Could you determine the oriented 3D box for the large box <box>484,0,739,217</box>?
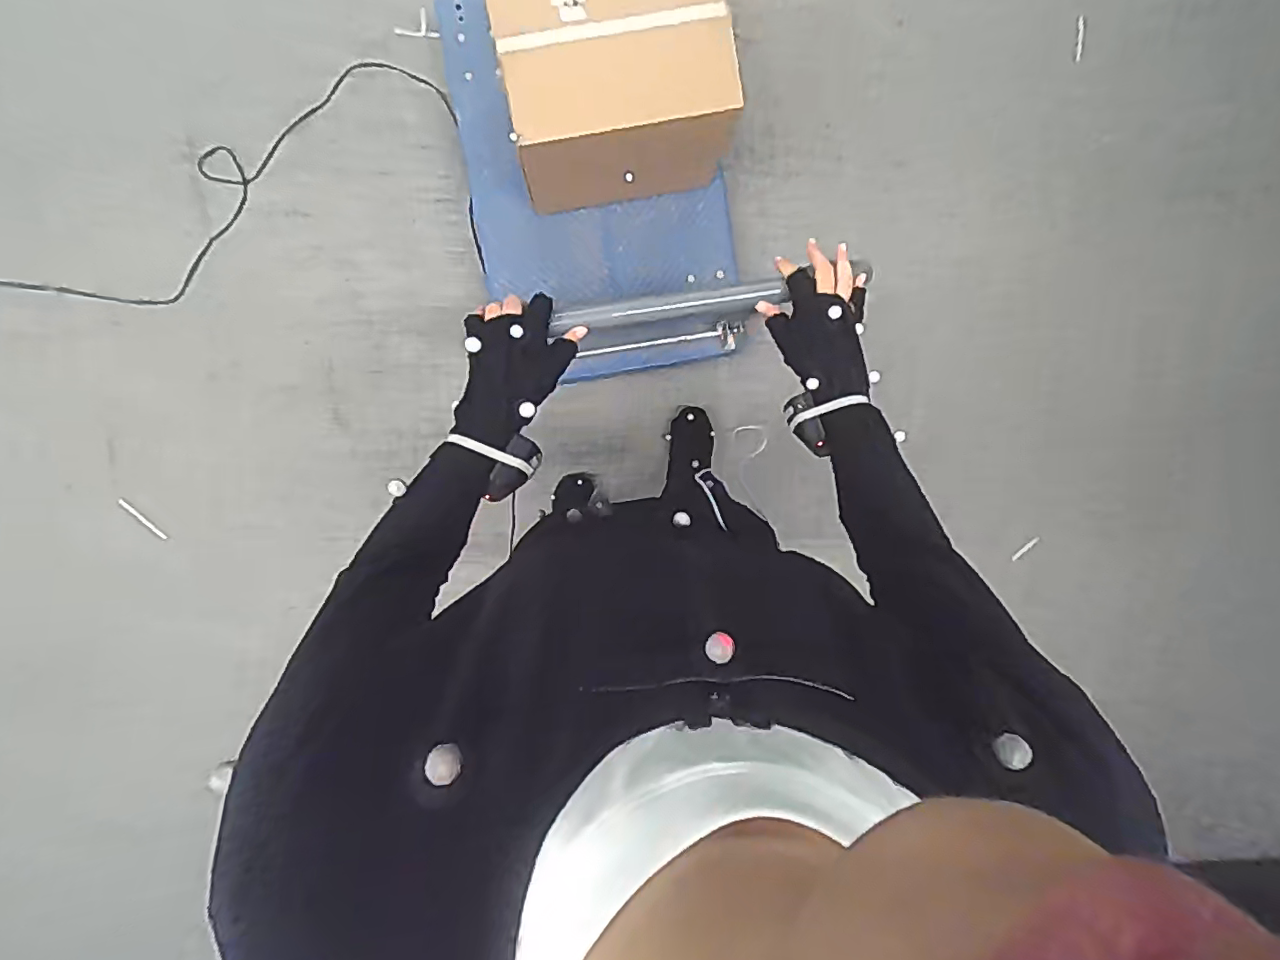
[{"bbox_3d":[-0.056,-0.768,1.075,0.408,0.320,0.320,-11,95,-2],"label":"large box"}]
